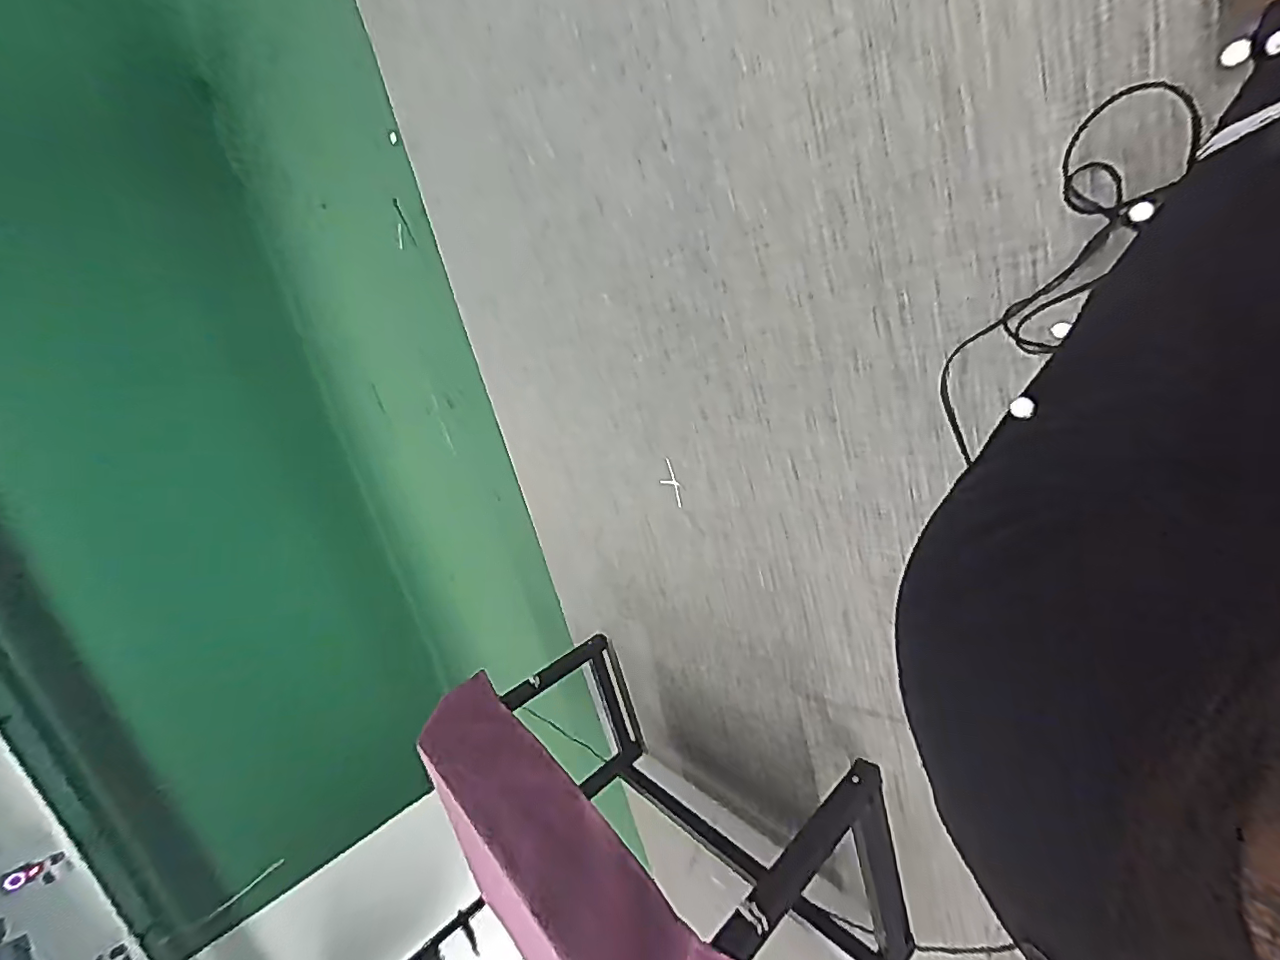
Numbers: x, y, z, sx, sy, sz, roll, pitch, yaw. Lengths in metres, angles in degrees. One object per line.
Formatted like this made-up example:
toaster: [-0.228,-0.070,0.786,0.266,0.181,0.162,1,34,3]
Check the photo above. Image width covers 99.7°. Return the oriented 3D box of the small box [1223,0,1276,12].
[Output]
small box: [0.541,-0.495,0.395,0.168,0.176,0.179,7,117,51]
